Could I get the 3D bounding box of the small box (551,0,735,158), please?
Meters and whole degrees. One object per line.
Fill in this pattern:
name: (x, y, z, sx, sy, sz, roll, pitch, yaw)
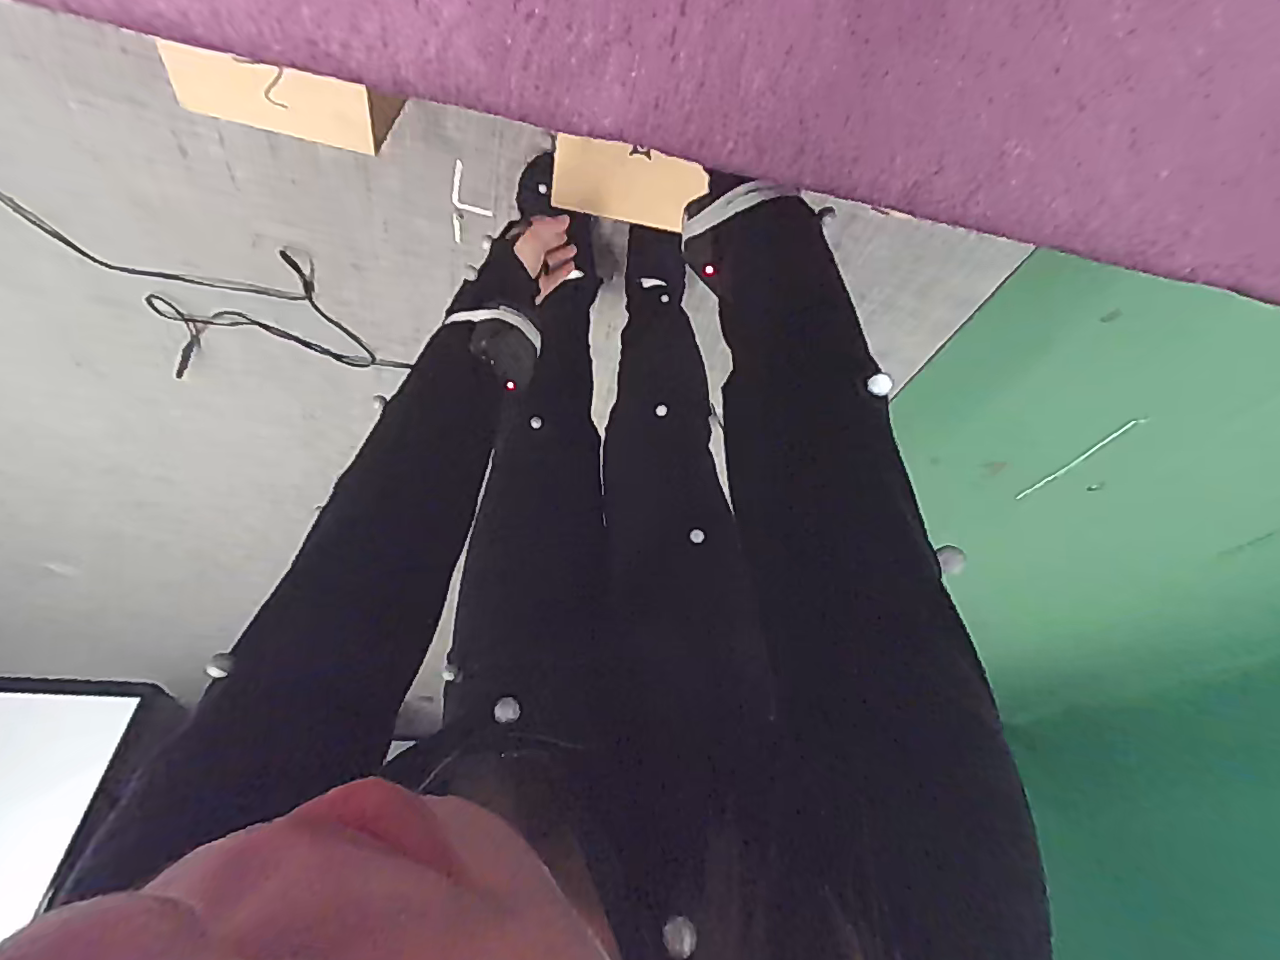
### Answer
small box: (-0.004, -0.533, 0.656, 0.179, 0.176, 0.168, 8, 144, -12)
